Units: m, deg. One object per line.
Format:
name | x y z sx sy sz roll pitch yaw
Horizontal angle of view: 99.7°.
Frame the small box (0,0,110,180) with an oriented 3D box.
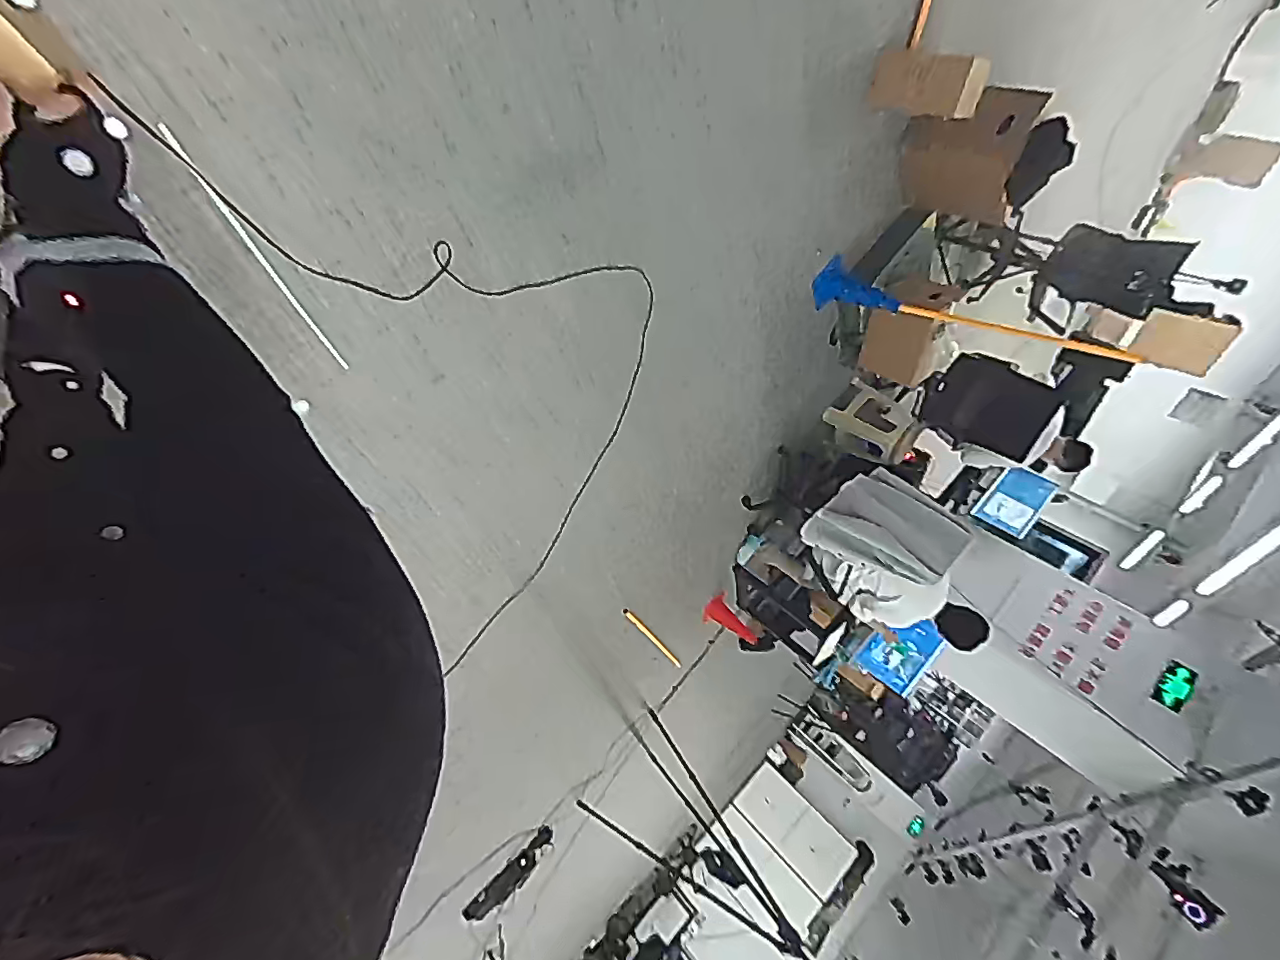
small box | -0.571 -0.345 0.411 0.179 0.176 0.168 -33 150 -7
